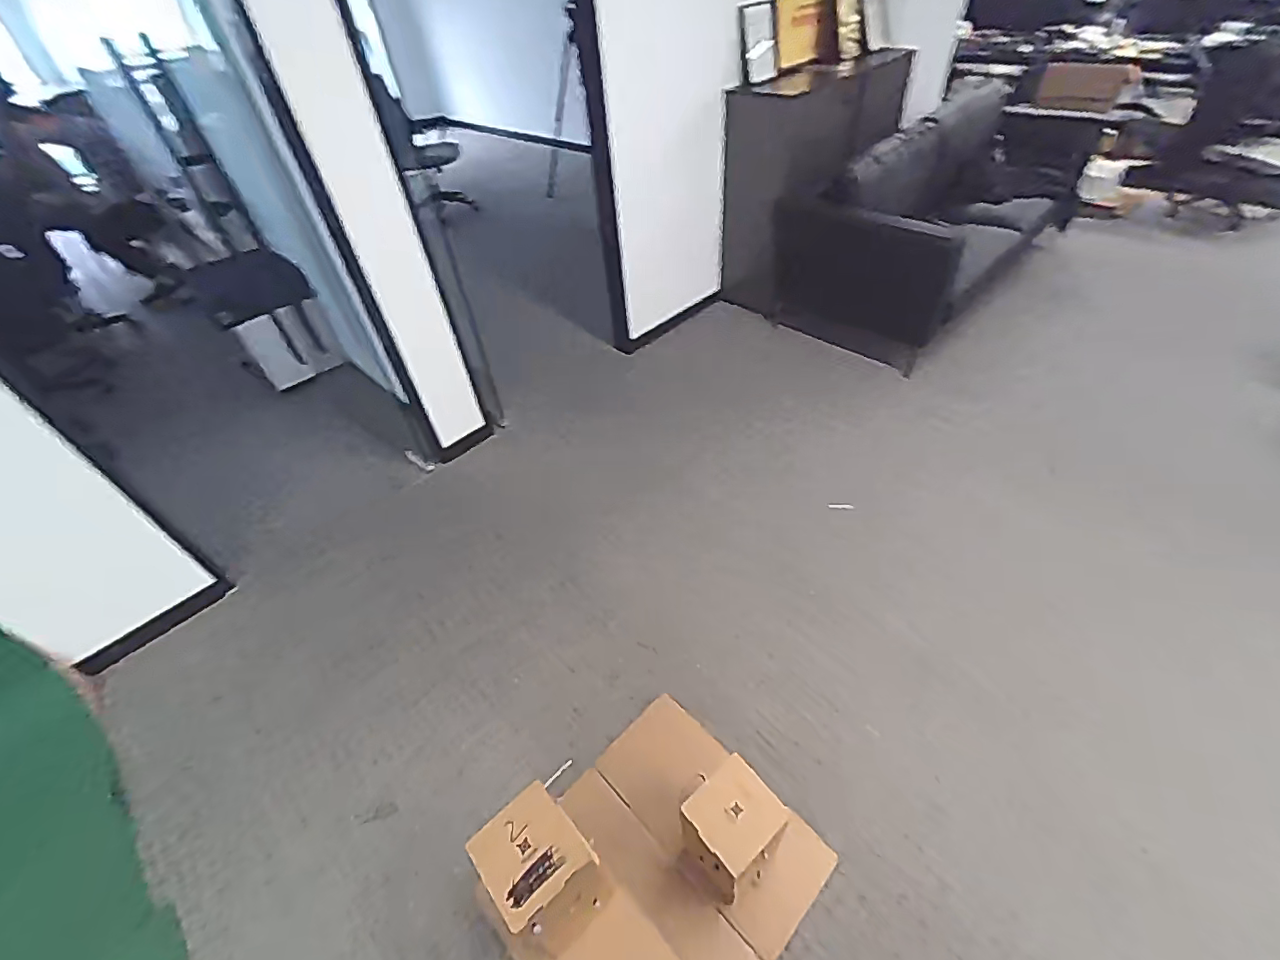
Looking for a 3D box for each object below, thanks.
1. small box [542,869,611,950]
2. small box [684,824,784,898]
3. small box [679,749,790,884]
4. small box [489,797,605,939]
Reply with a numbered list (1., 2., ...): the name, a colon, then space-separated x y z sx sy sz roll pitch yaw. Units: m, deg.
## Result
1. small box: -0.181 0.945 1.266 0.179 0.176 0.168 -36 52 -26
2. small box: 0.222 0.862 1.310 0.179 0.176 0.168 -35 51 -25
3. small box: 0.206 0.746 1.195 0.179 0.176 0.168 -33 51 -24
4. small box: -0.188 0.828 1.155 0.179 0.176 0.168 -36 53 -26
